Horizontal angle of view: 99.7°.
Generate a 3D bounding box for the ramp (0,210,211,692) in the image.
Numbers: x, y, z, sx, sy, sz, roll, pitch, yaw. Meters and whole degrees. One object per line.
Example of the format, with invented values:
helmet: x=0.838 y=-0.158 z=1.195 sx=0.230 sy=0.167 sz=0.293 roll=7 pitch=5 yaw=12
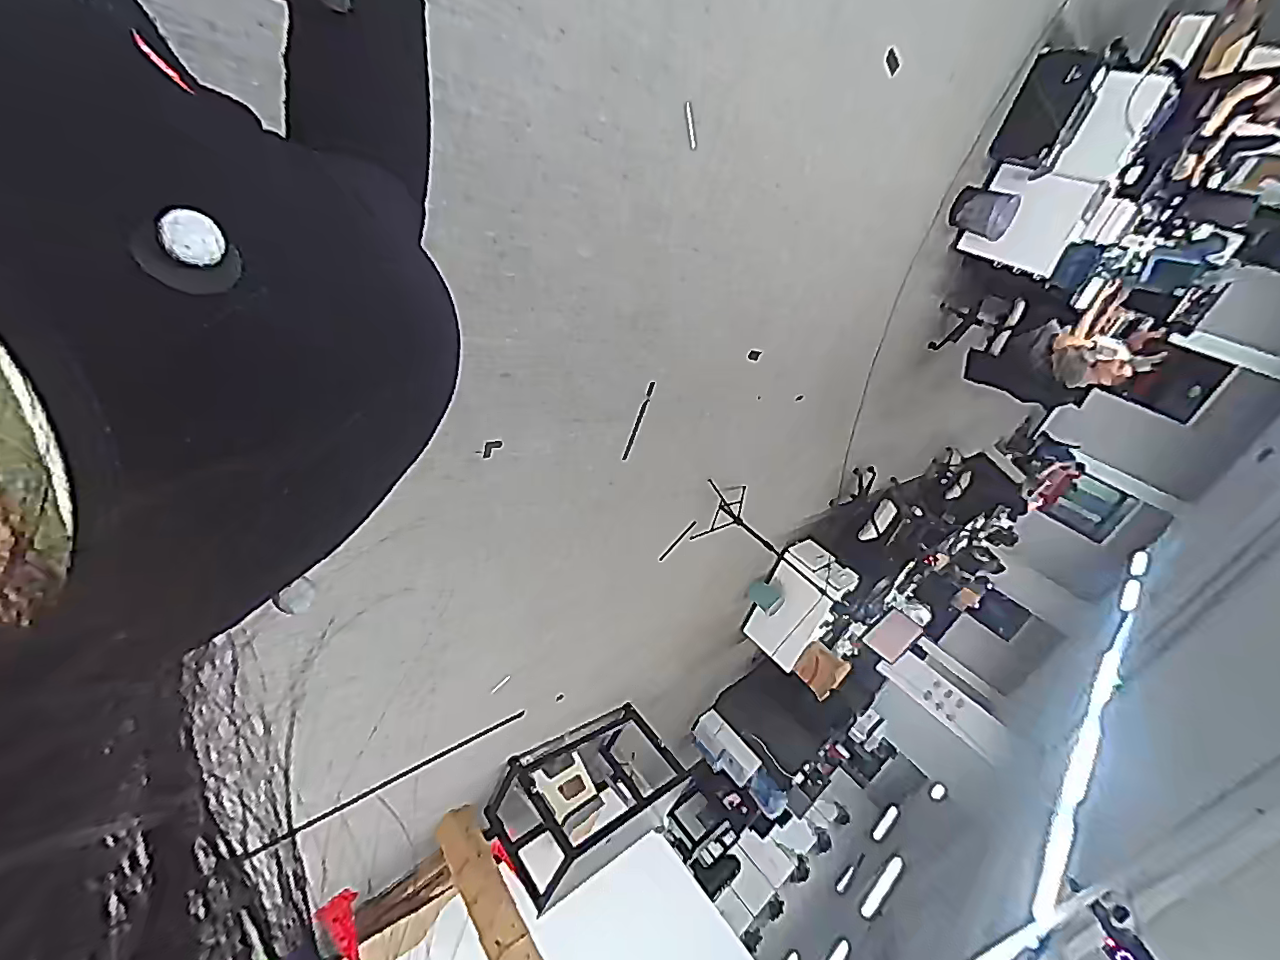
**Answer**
ramp: x=-1.231 y=-0.010 z=1.092 sx=0.509 sy=0.206 sz=0.991 roll=-12 pitch=131 yaw=-42
